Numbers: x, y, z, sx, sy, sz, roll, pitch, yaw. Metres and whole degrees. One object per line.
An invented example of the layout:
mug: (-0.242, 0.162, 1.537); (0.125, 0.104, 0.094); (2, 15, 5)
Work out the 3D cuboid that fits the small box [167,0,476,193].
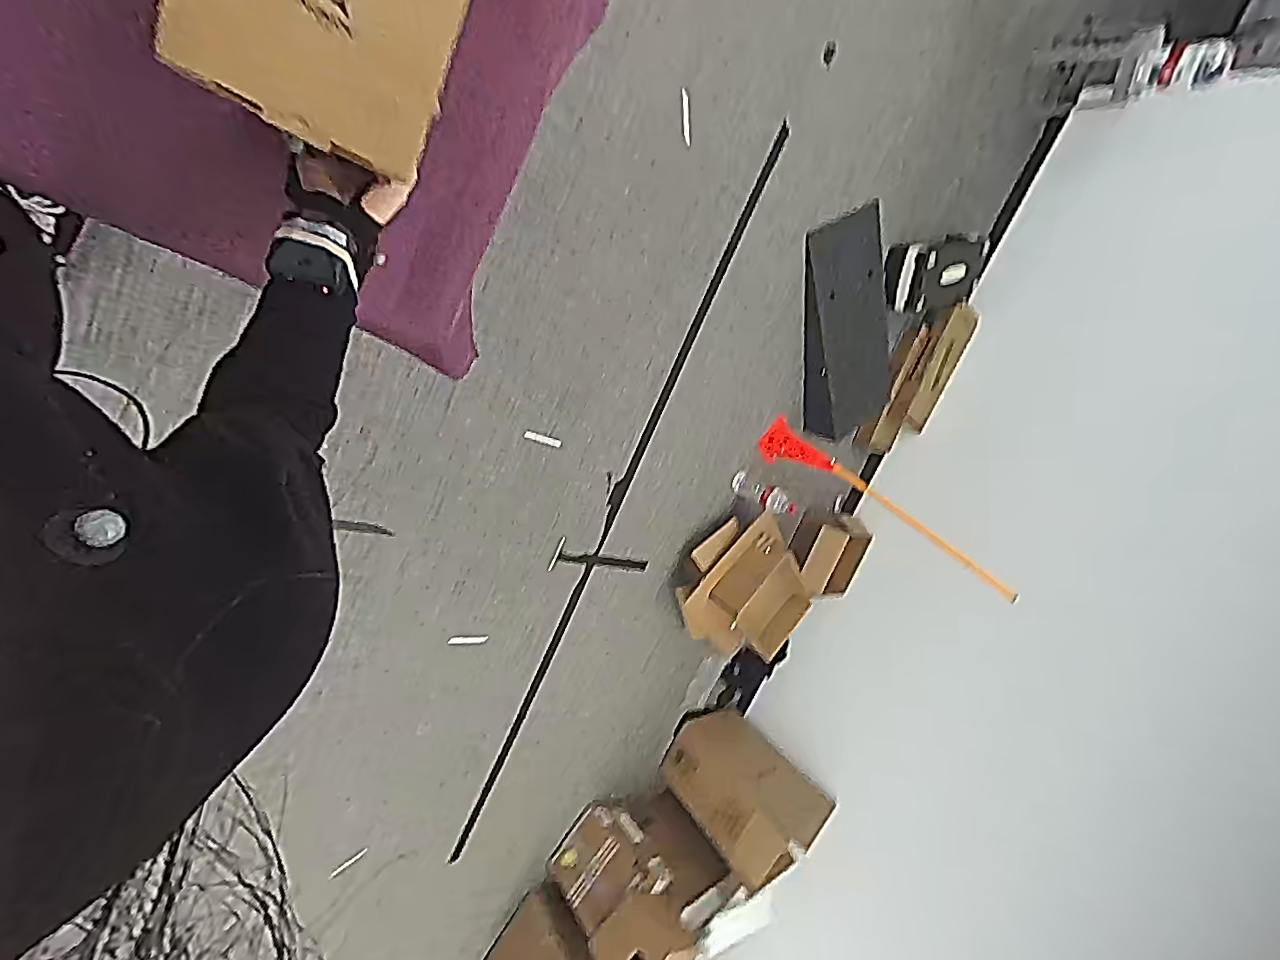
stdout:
small box: (-0.259, -0.374, 0.454); (0.168, 0.176, 0.179); (15, 109, -38)
